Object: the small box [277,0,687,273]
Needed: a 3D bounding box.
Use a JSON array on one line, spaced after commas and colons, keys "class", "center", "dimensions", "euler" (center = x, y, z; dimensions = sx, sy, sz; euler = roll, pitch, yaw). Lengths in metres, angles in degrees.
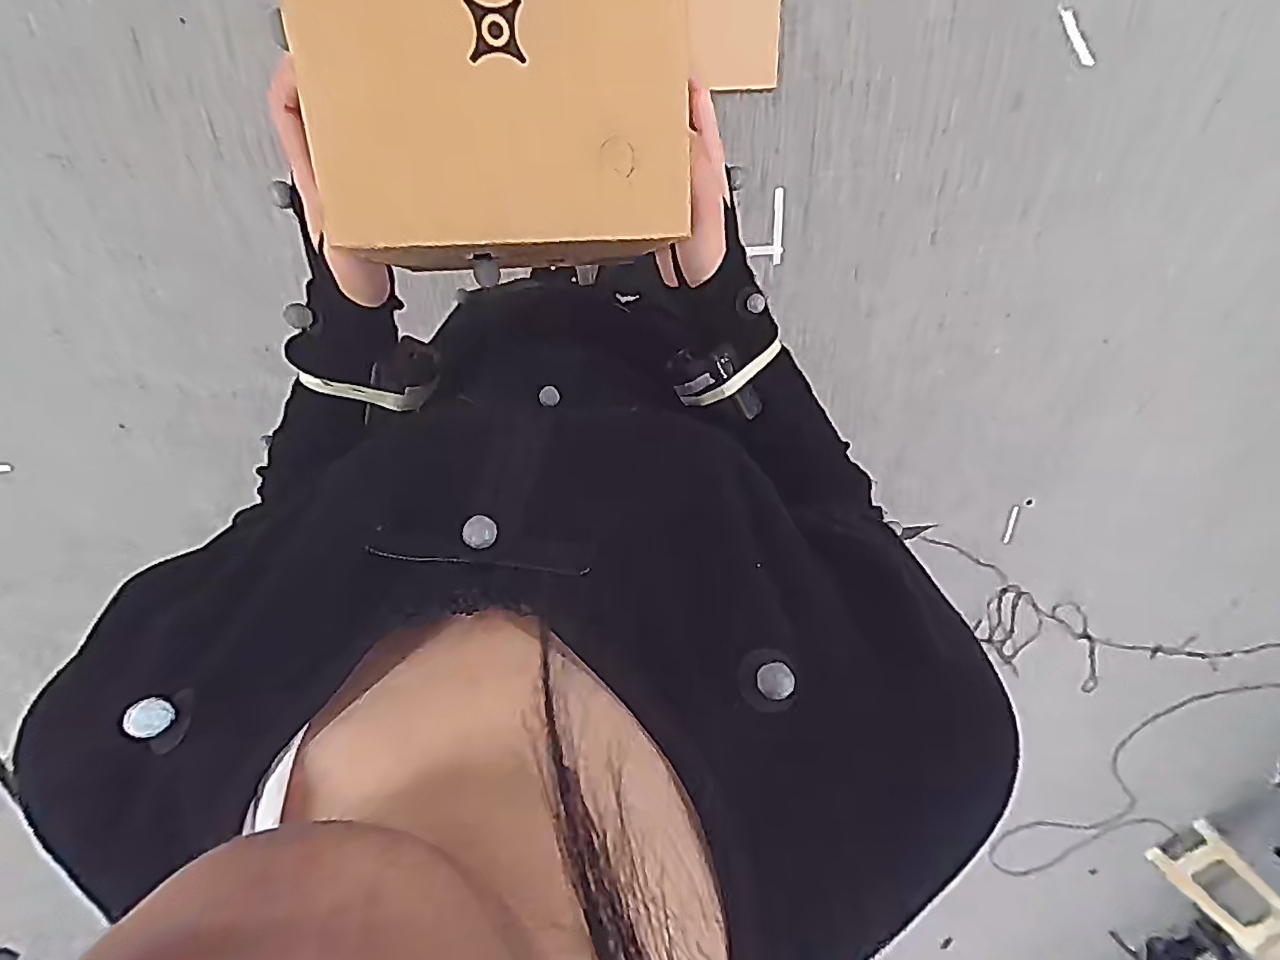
[{"class": "small box", "center": [-0.073, -0.212, 0.298], "dimensions": [0.168, 0.176, 0.179], "euler": [-6, 107, -8]}]
